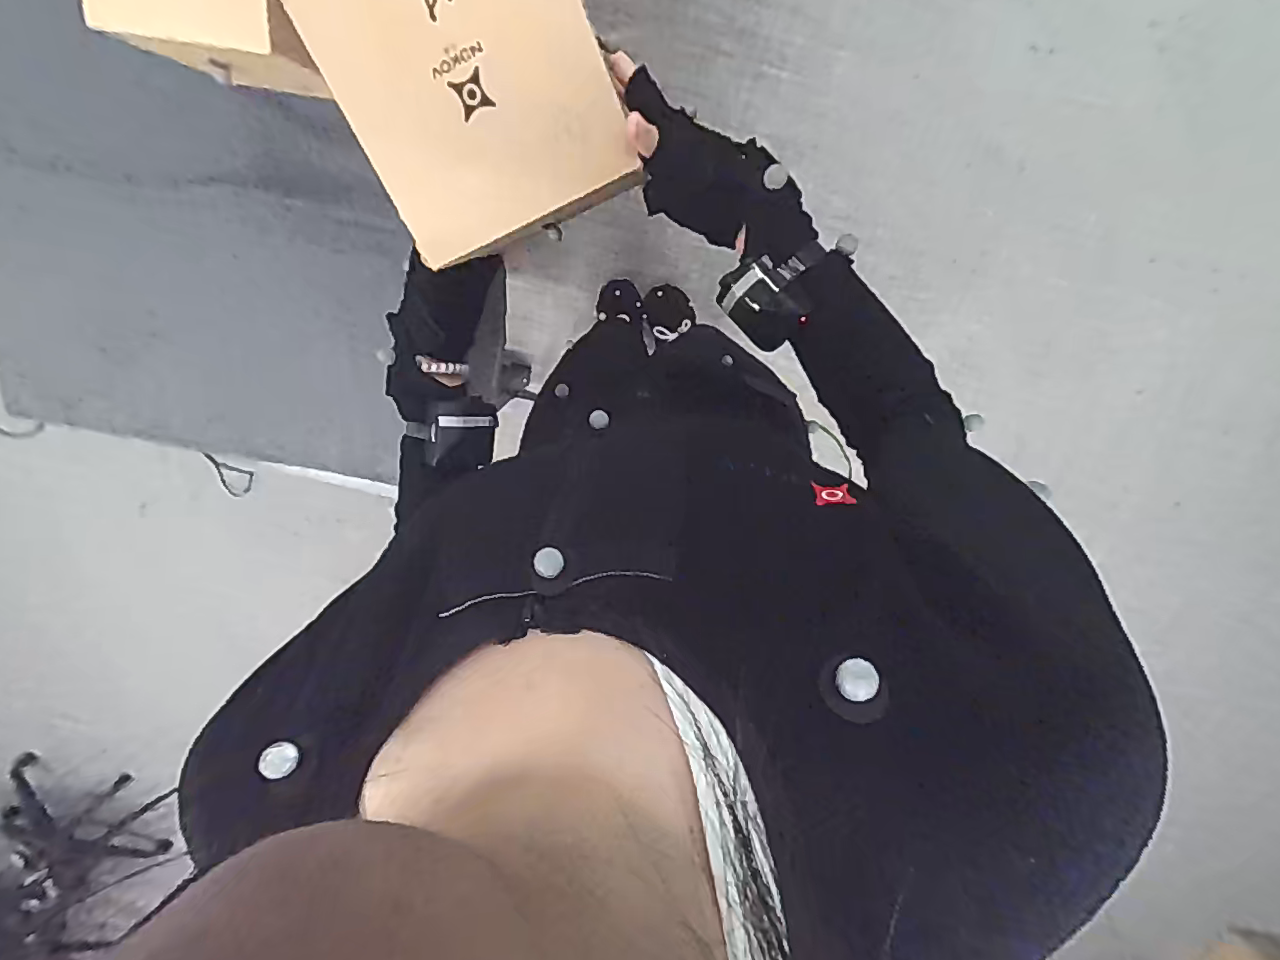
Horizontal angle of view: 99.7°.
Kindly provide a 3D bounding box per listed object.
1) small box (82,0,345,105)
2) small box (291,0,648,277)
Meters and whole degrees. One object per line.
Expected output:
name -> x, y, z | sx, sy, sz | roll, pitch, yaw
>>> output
small box -> -0.381, -0.483, 0.511 | 0.168, 0.176, 0.179 | 9, 112, 0
small box -> -0.097, -0.278, 0.407 | 0.168, 0.176, 0.179 | -19, 114, 11
